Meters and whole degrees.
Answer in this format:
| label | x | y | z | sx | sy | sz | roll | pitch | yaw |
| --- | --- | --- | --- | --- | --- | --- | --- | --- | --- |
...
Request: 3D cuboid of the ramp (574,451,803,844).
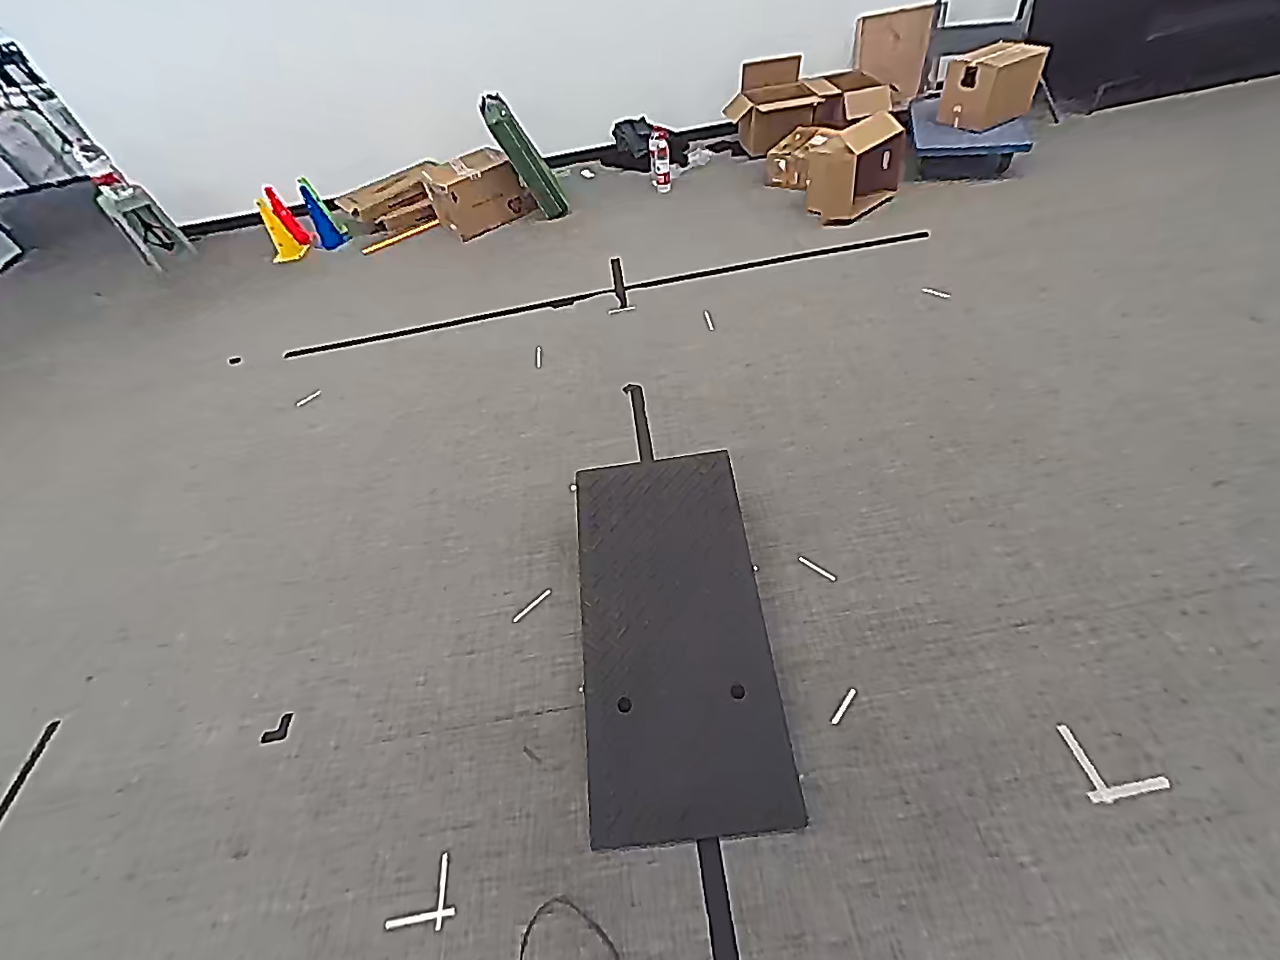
| label | x | y | z | sx | sy | sz | roll | pitch | yaw |
| --- | --- | --- | --- | --- | --- | --- | --- | --- | --- |
| ramp | 0.082 | 0.367 | 1.465 | 0.509 | 0.206 | 0.991 | -9 | 49 | 1 |
